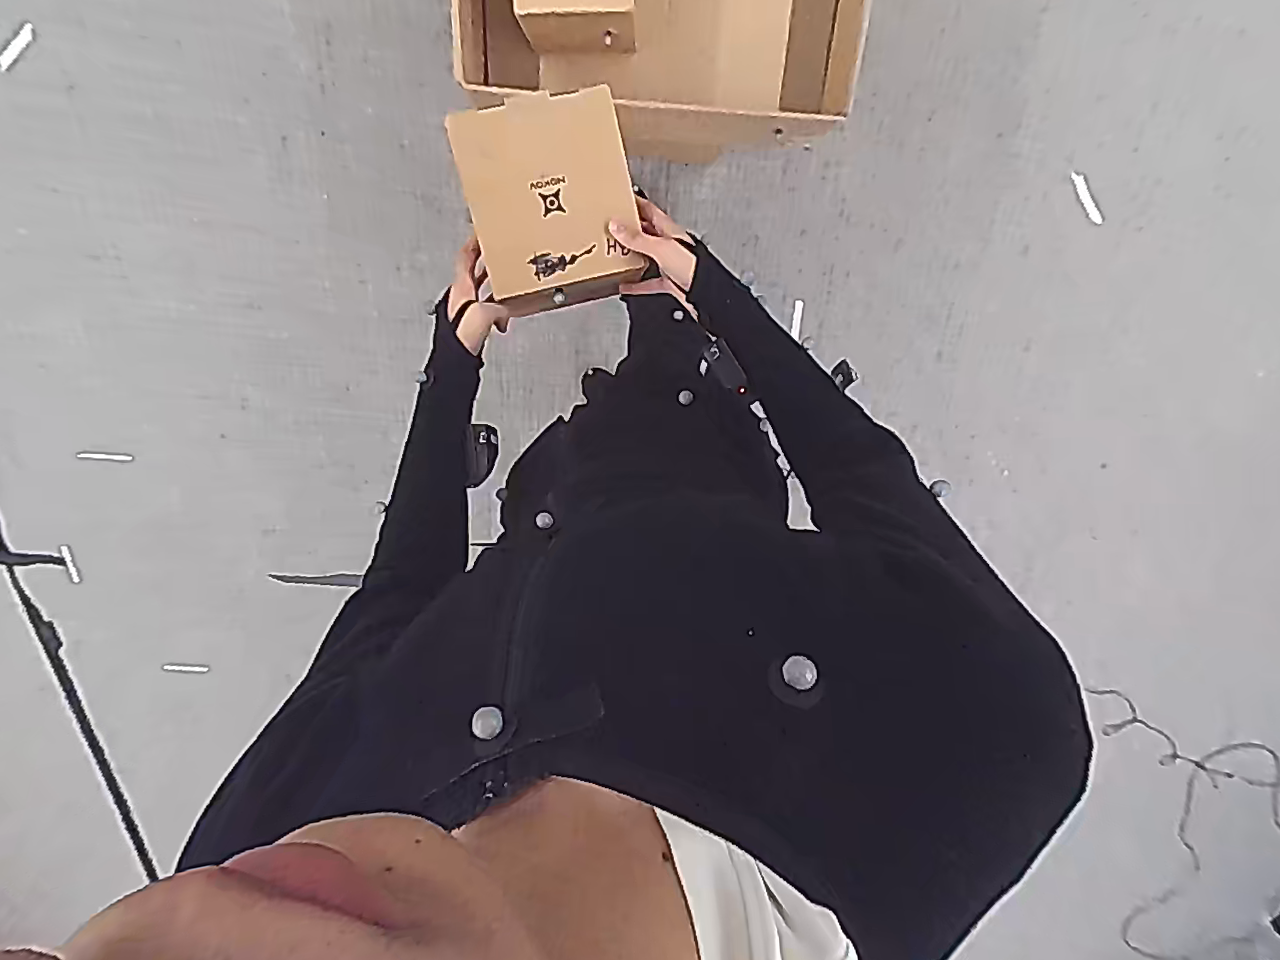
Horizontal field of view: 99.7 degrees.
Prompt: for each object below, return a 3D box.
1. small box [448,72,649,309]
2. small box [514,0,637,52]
[{"bbox_3d":[-0.099,-0.309,0.613,0.168,0.176,0.179,-15,101,-5],"label":"small box"},{"bbox_3d":[-0.094,-0.774,0.814,0.179,0.176,0.168,-1,111,1],"label":"small box"}]
